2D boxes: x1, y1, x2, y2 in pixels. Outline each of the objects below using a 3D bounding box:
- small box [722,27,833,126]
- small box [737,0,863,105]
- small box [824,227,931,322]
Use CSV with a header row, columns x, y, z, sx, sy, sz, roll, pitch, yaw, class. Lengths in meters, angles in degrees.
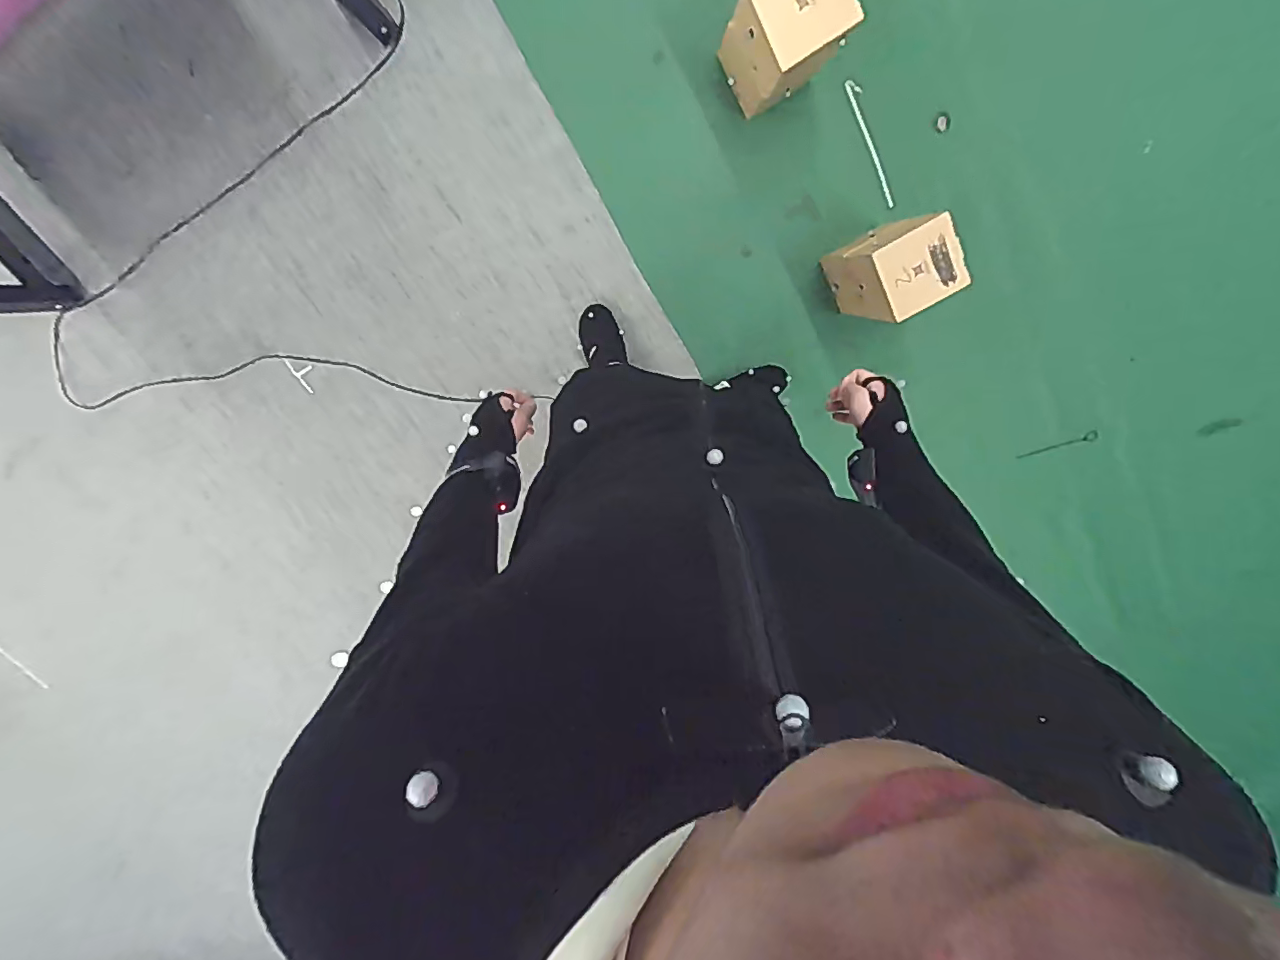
x,y,z,sx,sy,sz,roll,pitch,yaw,class
0.308,-0.962,1.245,0.179,0.176,0.168,-29,106,10,small box
0.310,-0.908,1.092,0.179,0.176,0.168,-30,106,8,small box
0.606,-0.527,1.396,0.179,0.176,0.168,-27,107,9,small box
